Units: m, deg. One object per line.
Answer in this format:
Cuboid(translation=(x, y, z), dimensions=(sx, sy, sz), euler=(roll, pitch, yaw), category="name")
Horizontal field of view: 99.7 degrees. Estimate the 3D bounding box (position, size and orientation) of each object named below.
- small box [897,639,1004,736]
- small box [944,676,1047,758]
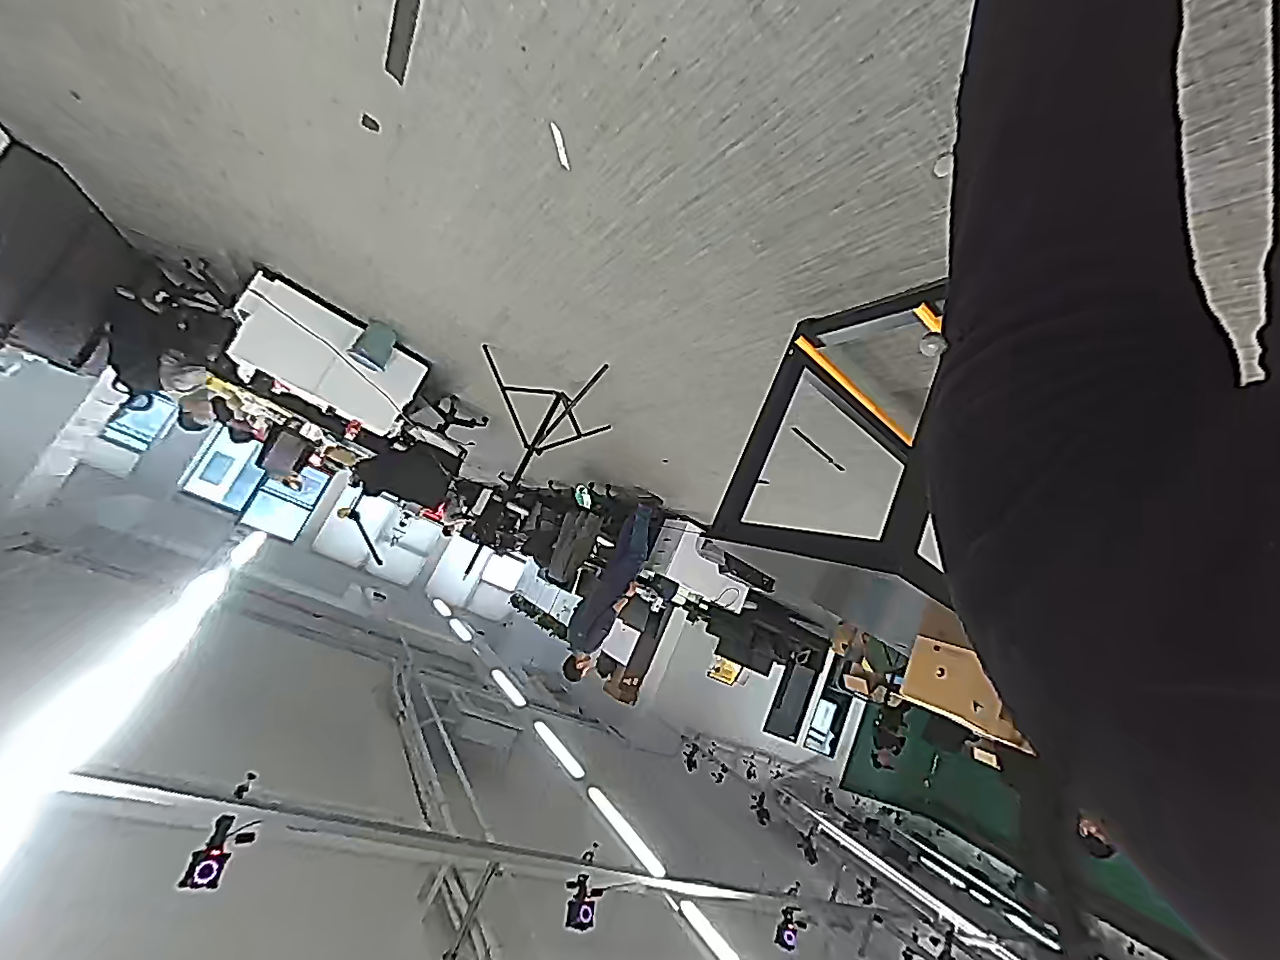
Cuboid(translation=(0.815, 0.537, 1.418), dimensions=(0.179, 0.176, 0.168), euler=(31, 167, -28), category="small box")
Cuboid(translation=(0.989, 0.637, 1.506), dimensions=(0.168, 0.176, 0.179), euler=(30, 166, -27), category="small box")
